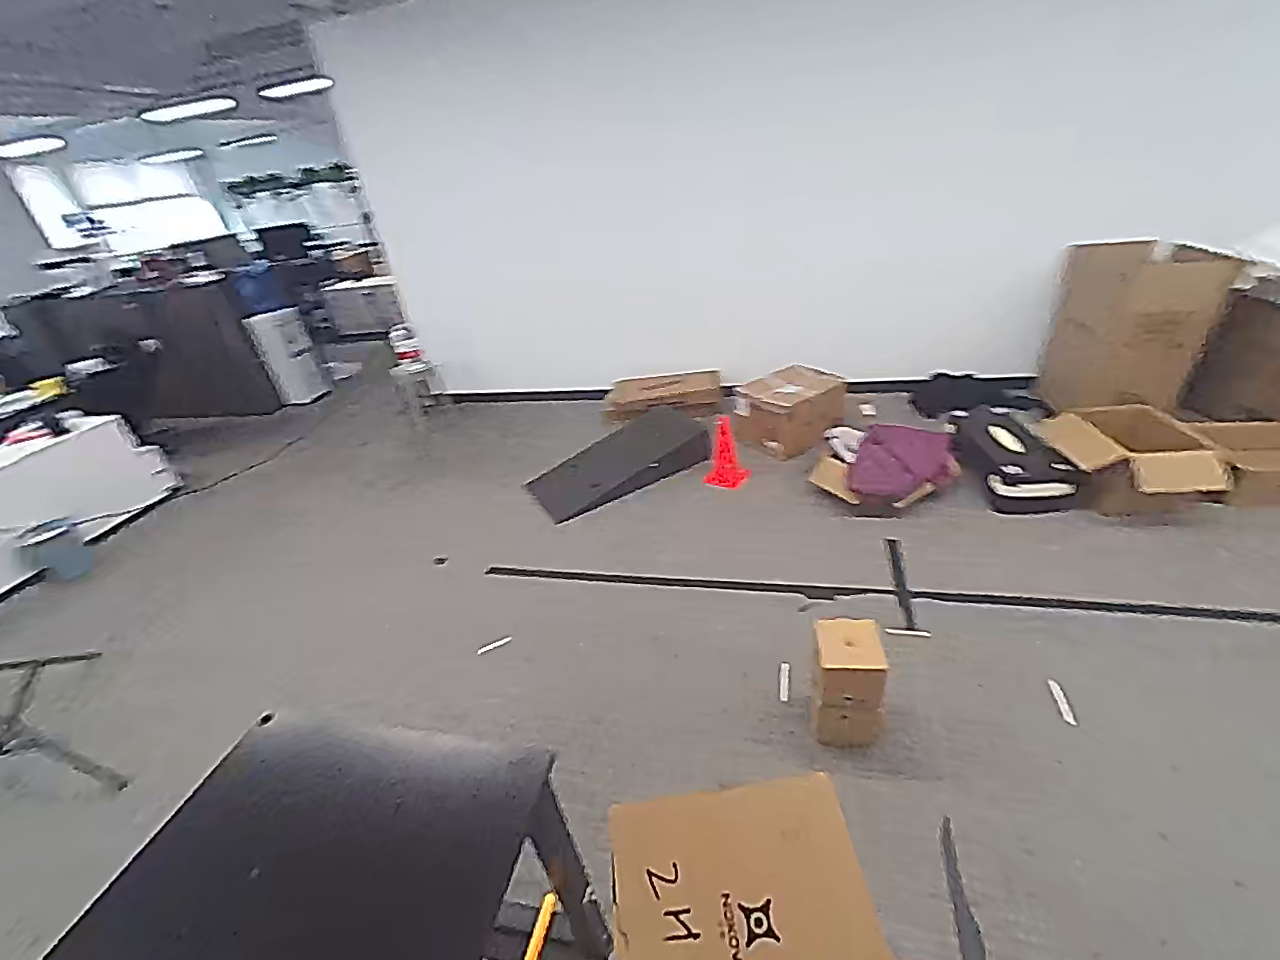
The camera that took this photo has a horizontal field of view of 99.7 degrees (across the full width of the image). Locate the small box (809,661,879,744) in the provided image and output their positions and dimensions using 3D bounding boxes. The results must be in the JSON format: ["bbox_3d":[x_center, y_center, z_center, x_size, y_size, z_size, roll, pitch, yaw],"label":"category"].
[{"bbox_3d":[0.600,0.663,1.612,0.179,0.176,0.168,-1,32,12],"label":"small box"}]

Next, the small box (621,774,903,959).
[{"bbox_3d":[0.083,0.351,0.419,0.179,0.176,0.168,-8,44,-1],"label":"small box"}]

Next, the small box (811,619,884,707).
[{"bbox_3d":[0.582,0.519,1.537,0.168,0.176,0.179,-4,33,10],"label":"small box"}]
